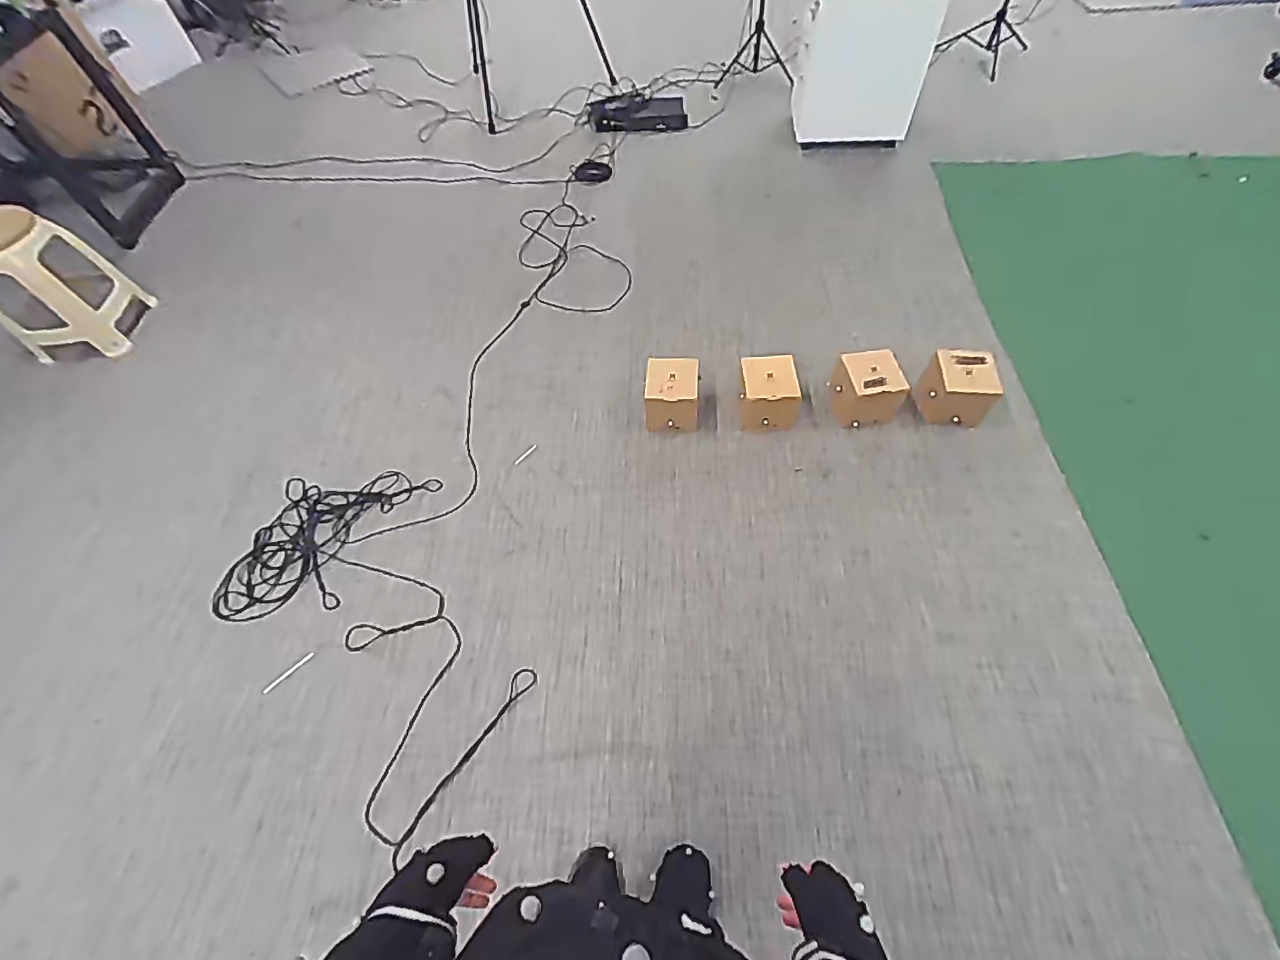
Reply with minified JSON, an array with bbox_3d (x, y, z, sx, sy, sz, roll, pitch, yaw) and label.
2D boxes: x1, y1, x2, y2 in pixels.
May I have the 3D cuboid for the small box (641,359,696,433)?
[{"bbox_3d":[0.097,-0.275,1.777,0.168,0.176,0.179,2,58,6],"label":"small box"}]

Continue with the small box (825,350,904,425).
[{"bbox_3d":[0.719,-0.292,1.749,0.168,0.176,0.179,-7,57,-1],"label":"small box"}]

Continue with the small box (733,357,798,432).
[{"bbox_3d":[0.402,-0.277,1.761,0.168,0.176,0.179,-4,58,2],"label":"small box"}]
